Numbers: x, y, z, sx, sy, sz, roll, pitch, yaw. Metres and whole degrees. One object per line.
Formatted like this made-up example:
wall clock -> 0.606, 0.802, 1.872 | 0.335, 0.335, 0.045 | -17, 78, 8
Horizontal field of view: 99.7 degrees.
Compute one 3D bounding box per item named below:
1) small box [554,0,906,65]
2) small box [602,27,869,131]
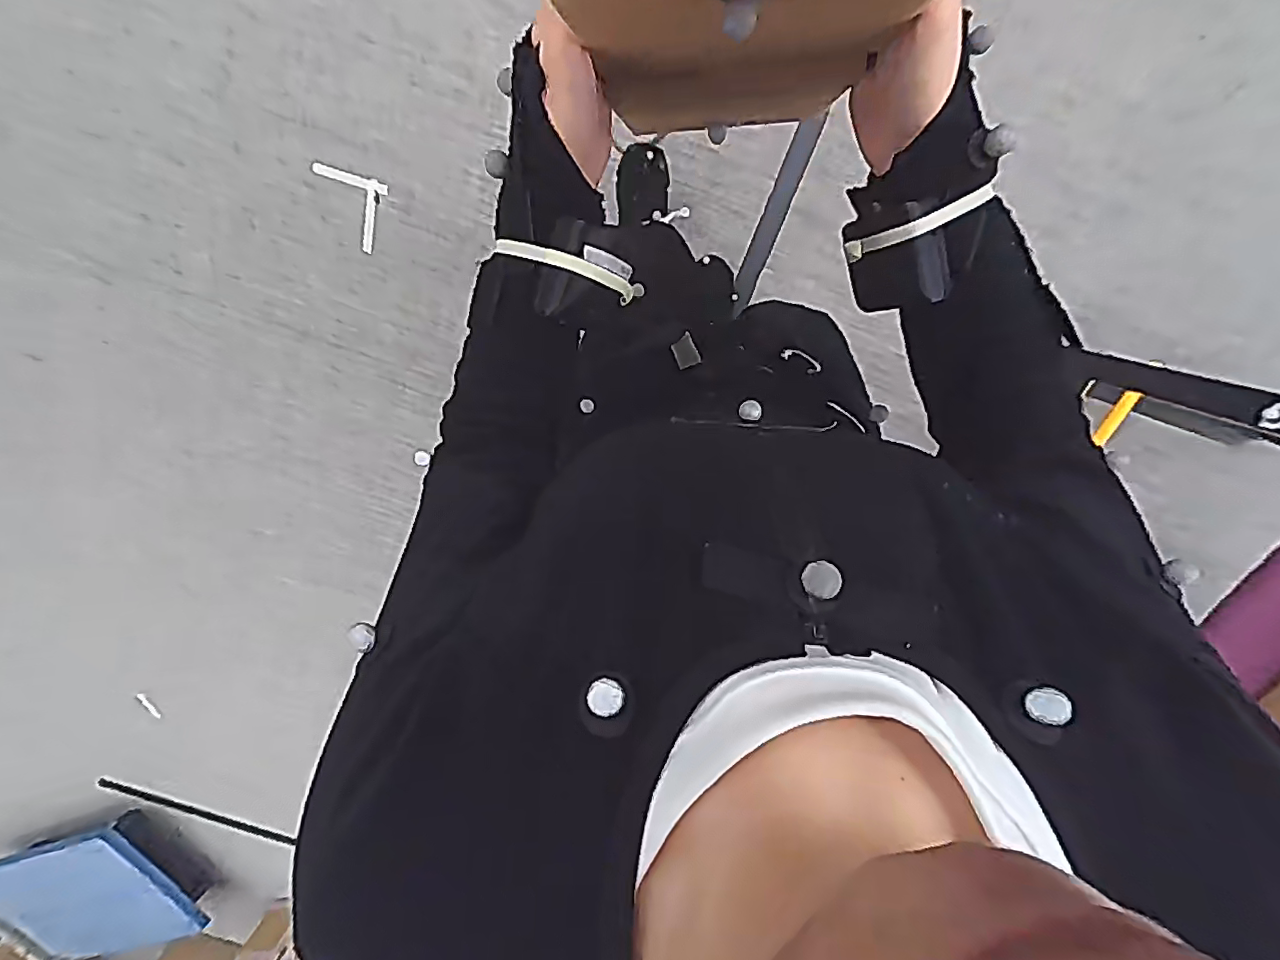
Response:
small box -> 0.048, -0.299, 0.226 | 0.179, 0.176, 0.168 | -1, 116, 8
small box -> 0.061, -0.362, 0.375 | 0.168, 0.176, 0.179 | 0, 116, 8
